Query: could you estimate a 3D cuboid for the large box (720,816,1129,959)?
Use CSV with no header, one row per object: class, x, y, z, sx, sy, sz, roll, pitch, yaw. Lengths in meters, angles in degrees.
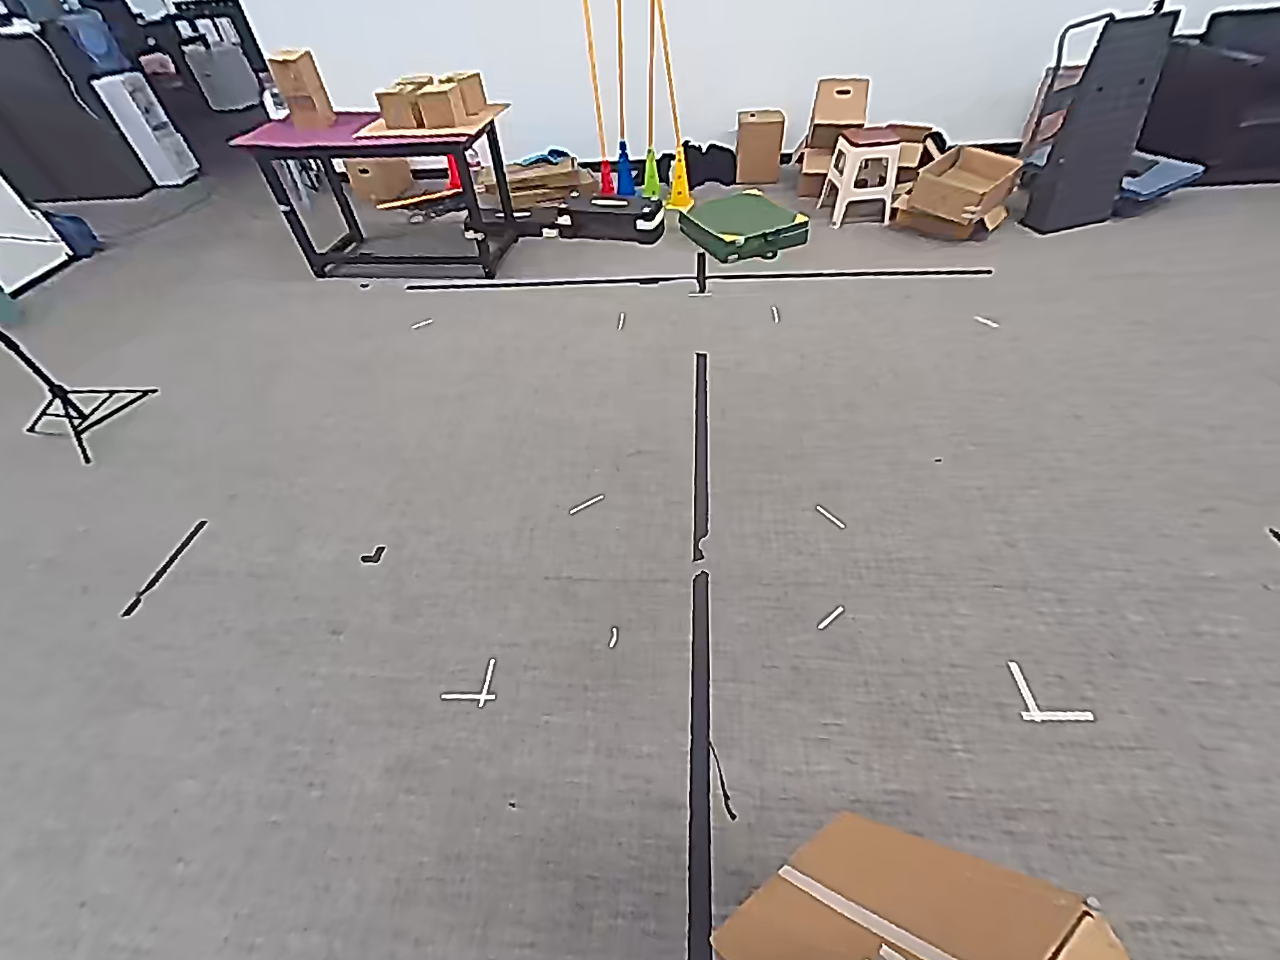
large box,0.373,0.710,0.678,0.320,0.408,0.320,-24,83,-25
